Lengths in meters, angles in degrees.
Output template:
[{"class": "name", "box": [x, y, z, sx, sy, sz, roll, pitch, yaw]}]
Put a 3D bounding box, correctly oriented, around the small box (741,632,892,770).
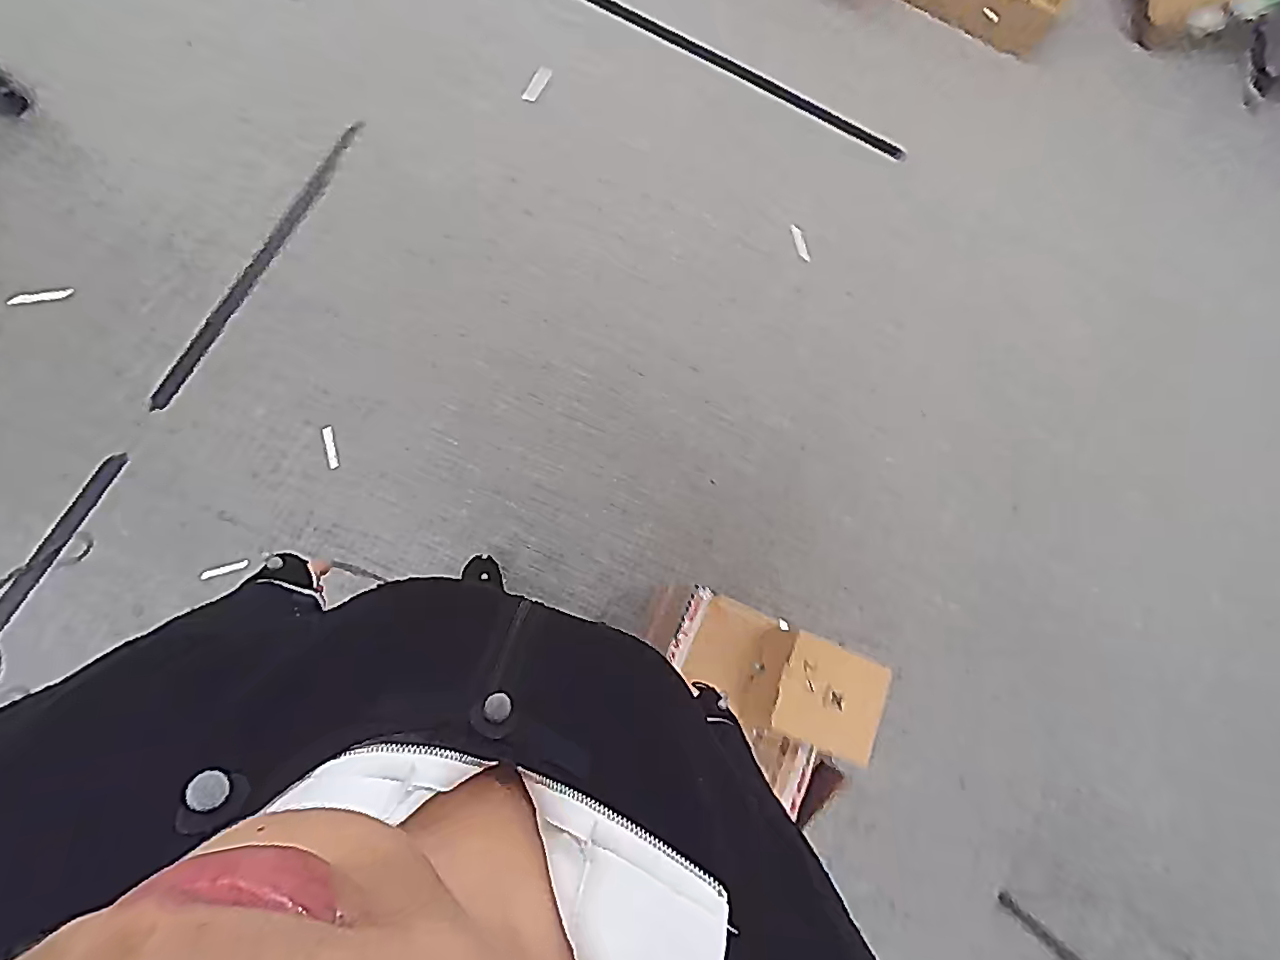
[{"class": "small box", "box": [0.305, 0.377, 0.960, 0.179, 0.176, 0.168, 24, 75, 0]}]
